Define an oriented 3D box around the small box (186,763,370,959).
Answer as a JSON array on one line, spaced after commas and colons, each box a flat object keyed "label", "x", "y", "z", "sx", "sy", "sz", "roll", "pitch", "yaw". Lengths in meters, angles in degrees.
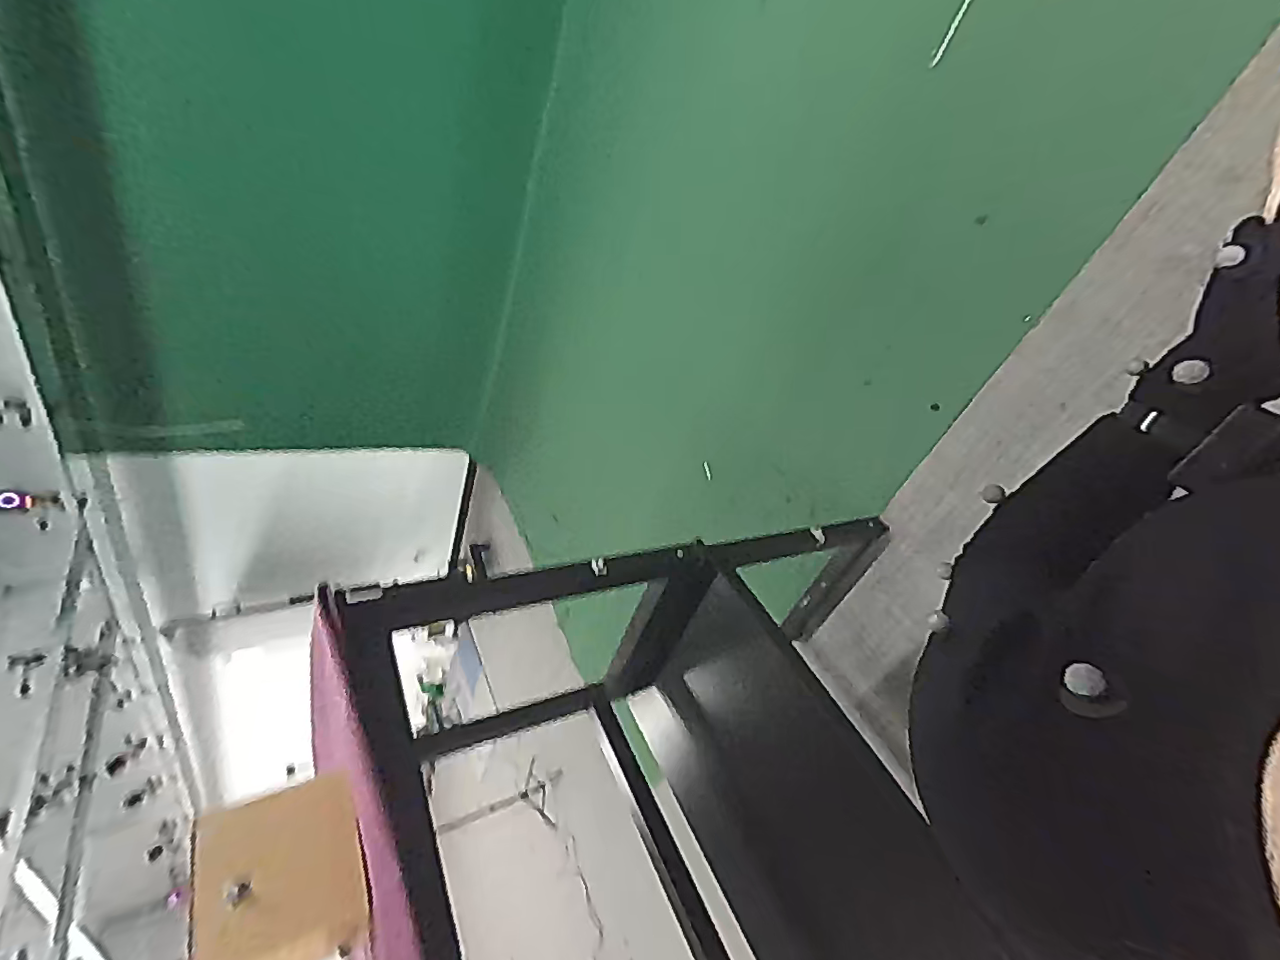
[{"label": "small box", "x": -0.443, "y": 0.498, "z": 0.677, "sx": 0.179, "sy": 0.176, "sz": 0.168, "roll": 55, "pitch": 137, "yaw": 37}]
